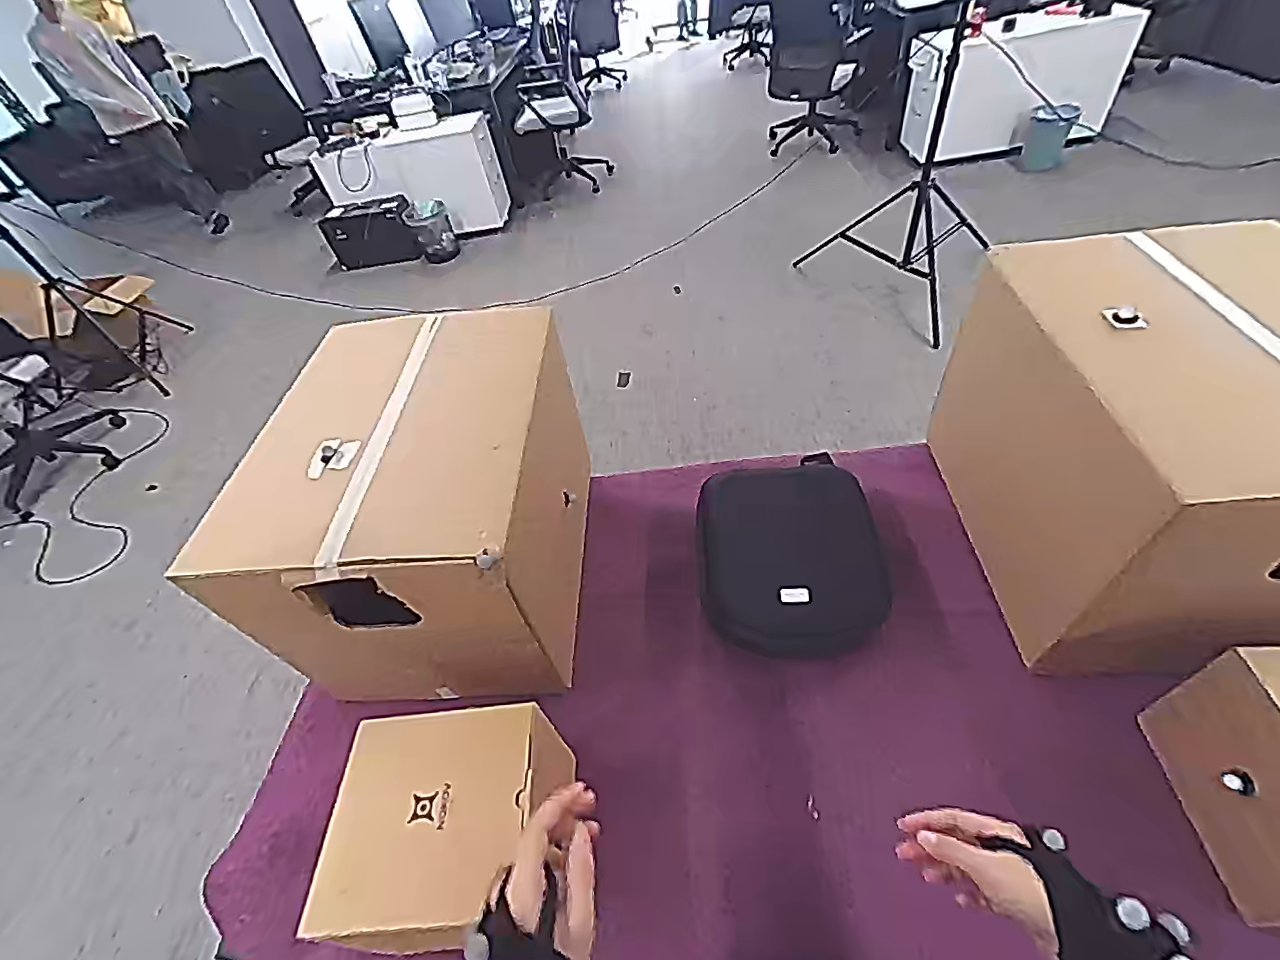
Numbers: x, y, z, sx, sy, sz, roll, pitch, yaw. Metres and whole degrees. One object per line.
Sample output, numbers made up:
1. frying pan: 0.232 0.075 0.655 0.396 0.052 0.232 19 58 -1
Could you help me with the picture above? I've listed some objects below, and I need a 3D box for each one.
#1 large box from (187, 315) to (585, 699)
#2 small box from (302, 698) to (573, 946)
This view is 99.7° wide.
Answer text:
1. large box: -0.254 0.034 0.721 0.320 0.320 0.408 -5 50 5
2. small box: -0.172 0.335 0.526 0.179 0.176 0.168 -8 46 3
